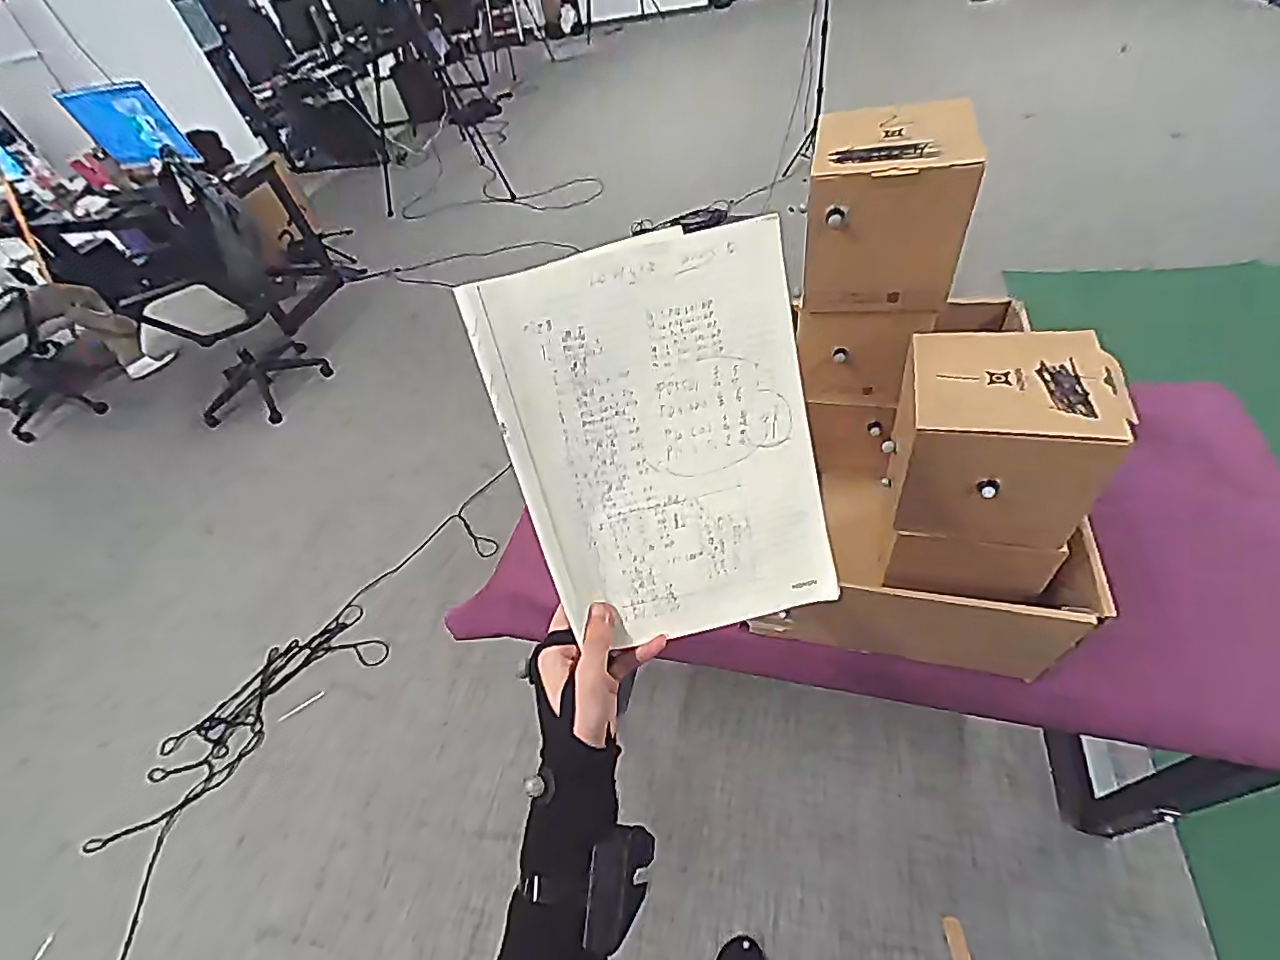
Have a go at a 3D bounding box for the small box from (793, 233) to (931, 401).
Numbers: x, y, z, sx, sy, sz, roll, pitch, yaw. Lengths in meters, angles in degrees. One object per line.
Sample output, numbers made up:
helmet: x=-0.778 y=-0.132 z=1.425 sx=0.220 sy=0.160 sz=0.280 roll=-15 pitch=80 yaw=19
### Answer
small box: x=0.317 y=-0.233 z=0.788 sx=0.168 sy=0.176 sz=0.179 roll=6 pitch=53 yaw=18

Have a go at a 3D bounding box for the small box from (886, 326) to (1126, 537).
small box: x=0.384 y=-0.053 z=0.606 sx=0.179 sy=0.176 sz=0.168 roll=5 pitch=50 yaw=20
